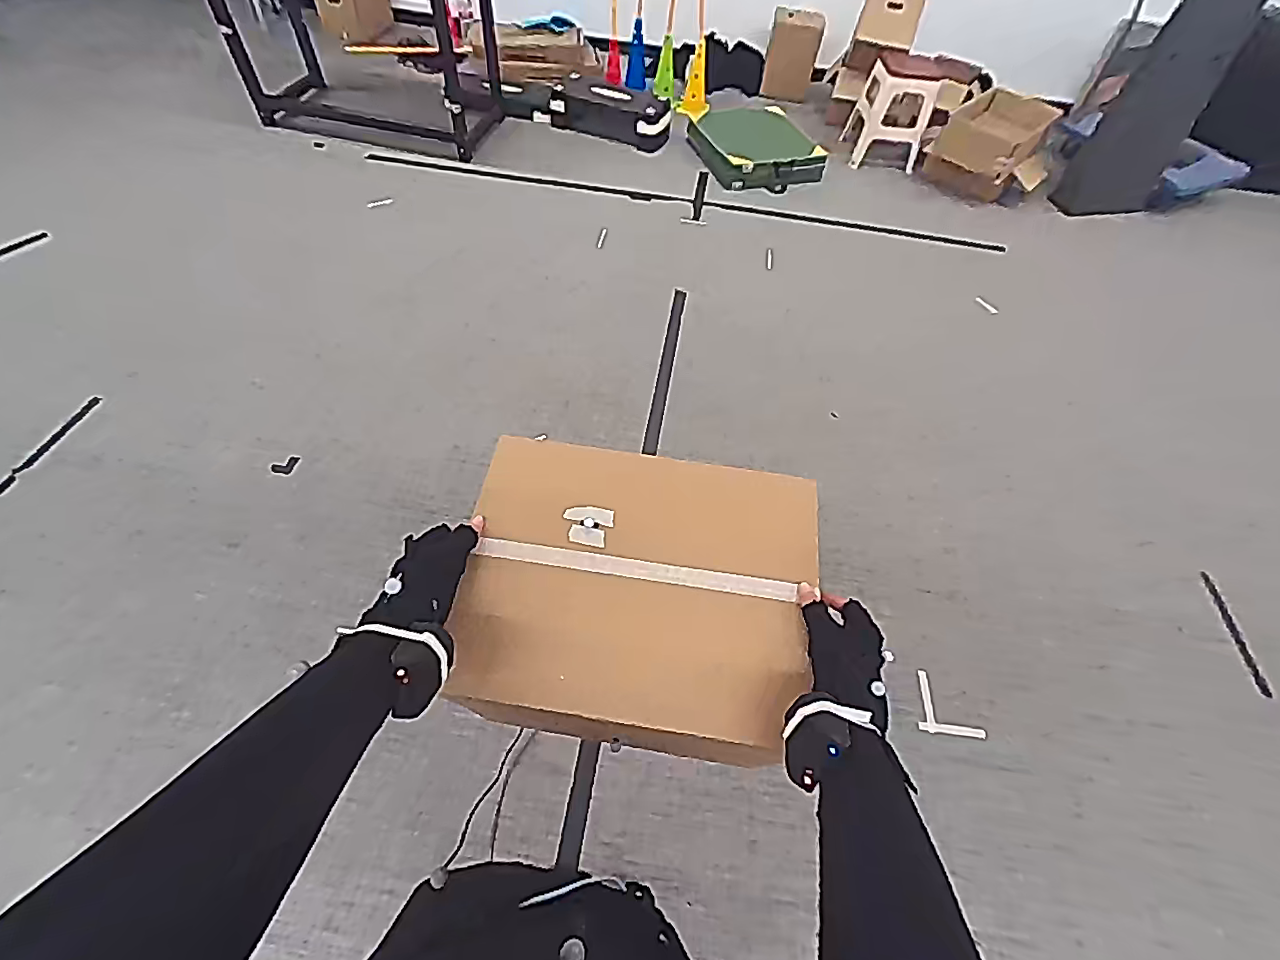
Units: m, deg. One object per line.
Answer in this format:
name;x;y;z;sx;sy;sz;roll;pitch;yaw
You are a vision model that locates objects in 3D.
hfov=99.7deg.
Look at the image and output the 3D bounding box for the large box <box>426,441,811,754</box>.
large box;-0.005;0.177;0.748;0.408;0.320;0.320;8;60;4
